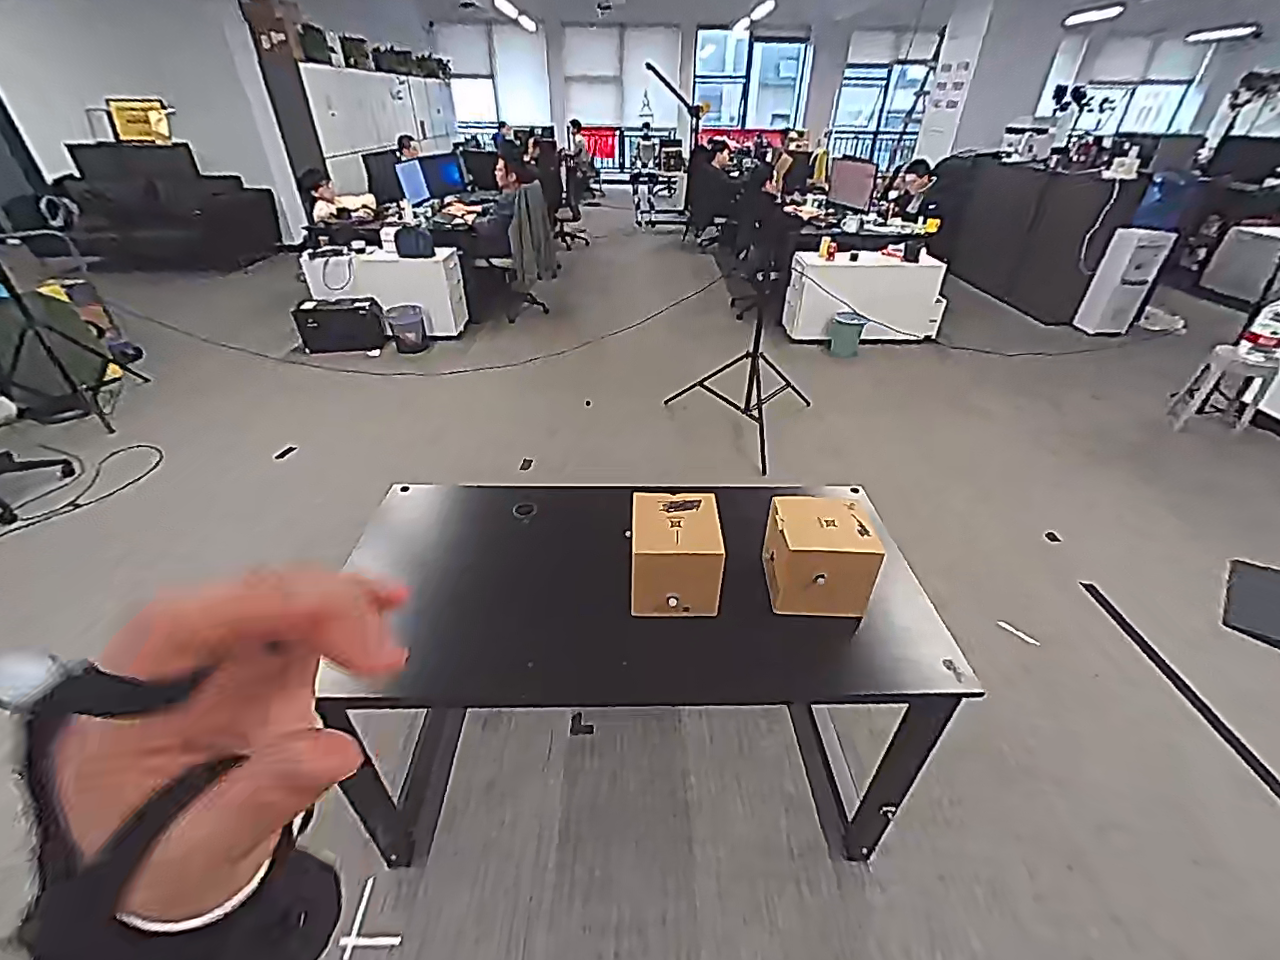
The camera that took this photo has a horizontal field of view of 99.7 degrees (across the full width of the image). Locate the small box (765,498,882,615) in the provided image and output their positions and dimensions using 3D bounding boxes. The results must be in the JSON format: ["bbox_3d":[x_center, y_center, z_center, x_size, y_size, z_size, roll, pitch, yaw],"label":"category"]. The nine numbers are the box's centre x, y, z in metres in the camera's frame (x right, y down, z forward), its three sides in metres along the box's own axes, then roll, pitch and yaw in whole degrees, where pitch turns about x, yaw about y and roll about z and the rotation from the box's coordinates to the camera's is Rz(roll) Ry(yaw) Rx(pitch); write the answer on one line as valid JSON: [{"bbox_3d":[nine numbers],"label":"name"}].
[{"bbox_3d":[0.348,0.150,1.067,0.179,0.176,0.168,1,34,2],"label":"small box"}]

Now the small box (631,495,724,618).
[{"bbox_3d":[0.066,0.148,1.067,0.168,0.176,0.179,0,35,0],"label":"small box"}]
